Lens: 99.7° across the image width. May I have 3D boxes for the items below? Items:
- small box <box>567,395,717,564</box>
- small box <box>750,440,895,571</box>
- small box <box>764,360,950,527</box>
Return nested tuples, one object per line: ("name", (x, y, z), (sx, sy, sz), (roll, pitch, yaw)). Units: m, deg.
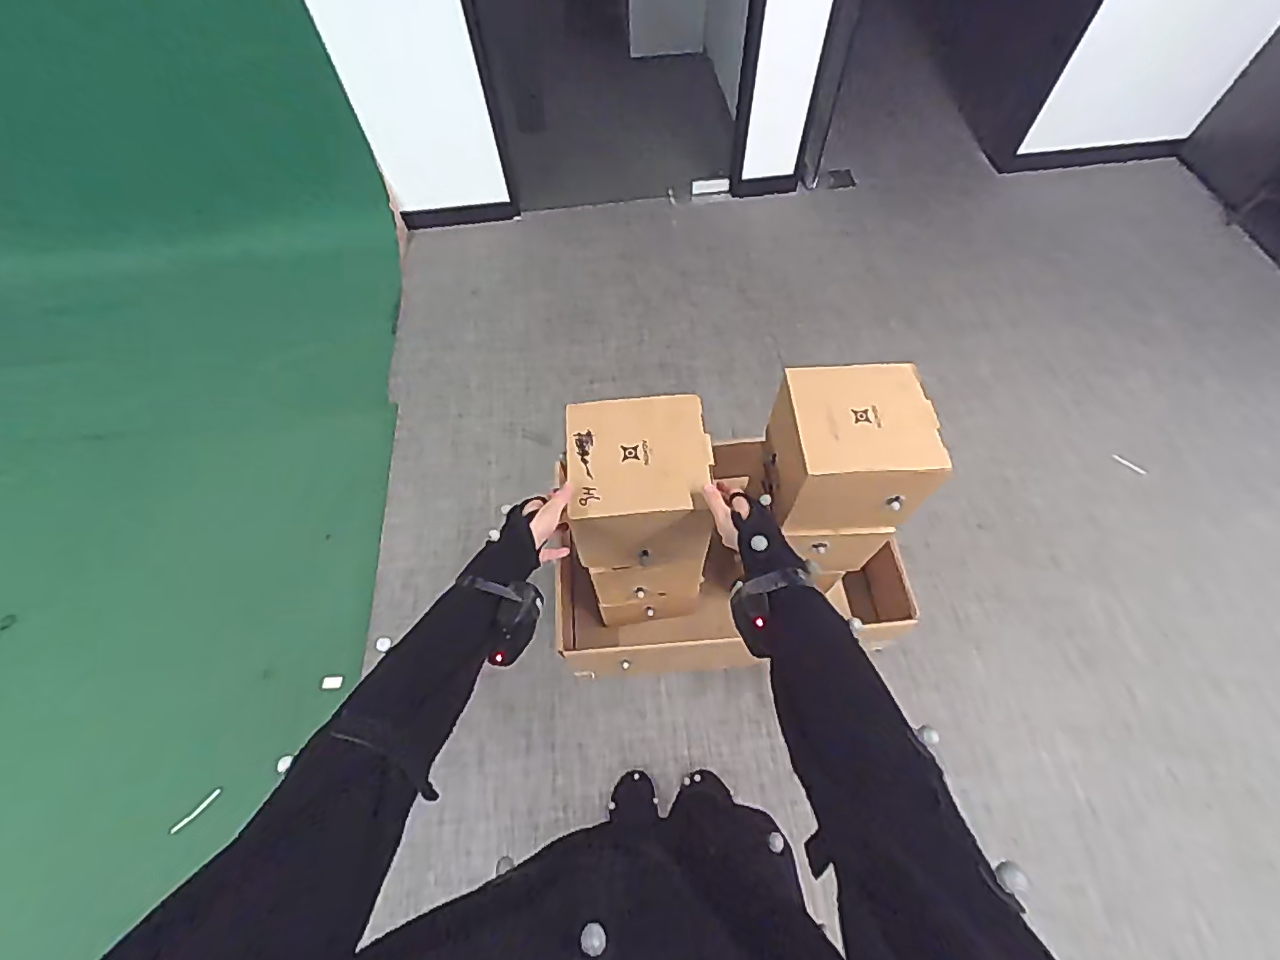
("small box", (-0.001, 0.005, 0.727), (0.179, 0.176, 0.168), (-4, 60, -1))
("small box", (0.280, 0.044, 0.881), (0.179, 0.176, 0.168), (-2, 61, 0))
("small box", (0.280, -0.044, 0.745), (0.179, 0.176, 0.168), (-3, 60, 1))
